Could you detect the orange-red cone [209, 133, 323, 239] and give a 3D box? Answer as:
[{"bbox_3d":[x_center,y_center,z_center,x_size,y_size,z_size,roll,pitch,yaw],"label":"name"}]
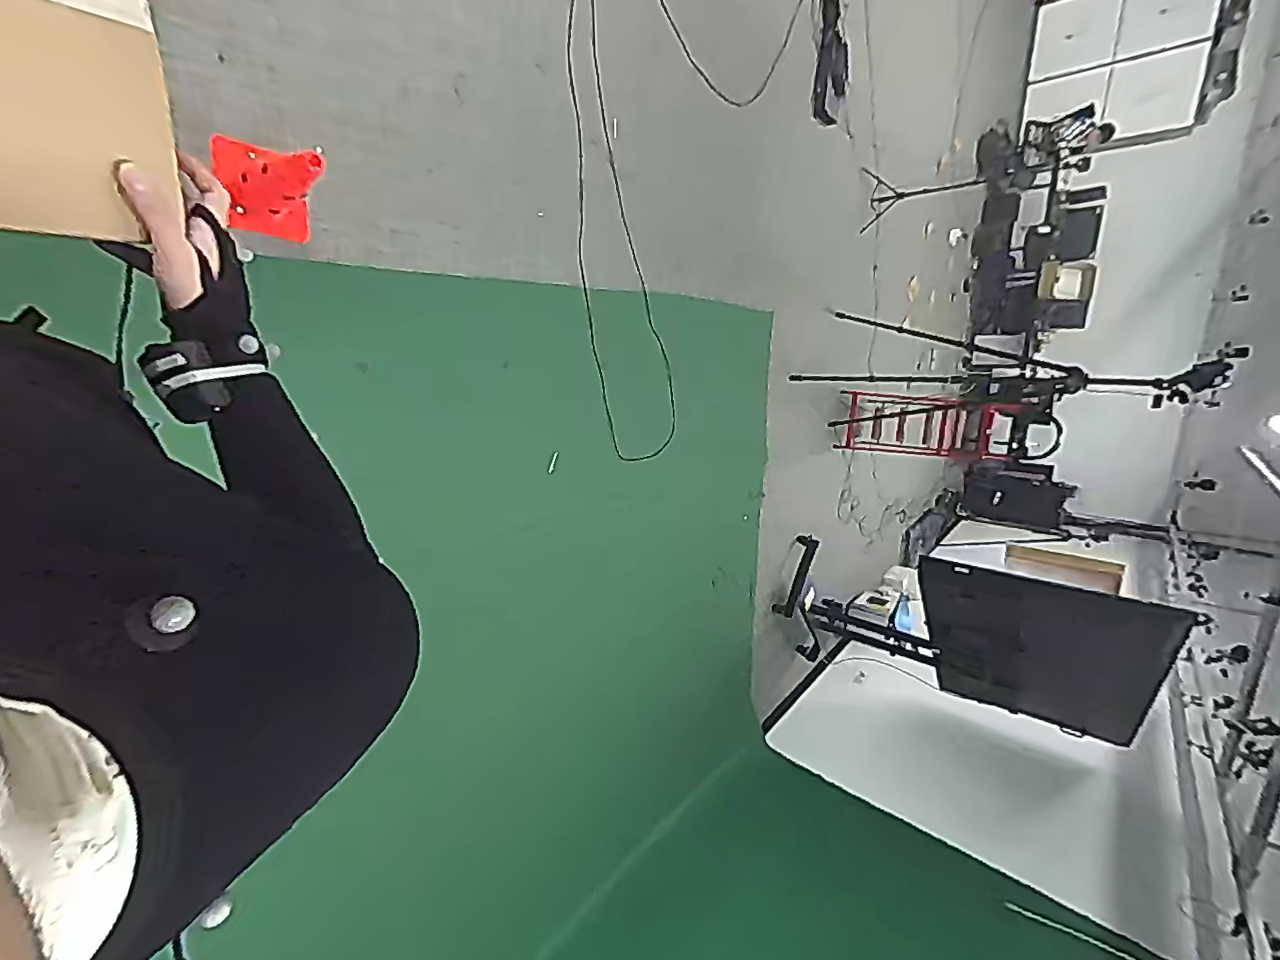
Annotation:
[{"bbox_3d":[-0.805,-0.686,1.222,0.199,0.360,0.198,-6,104,-51],"label":"orange-red cone"}]
